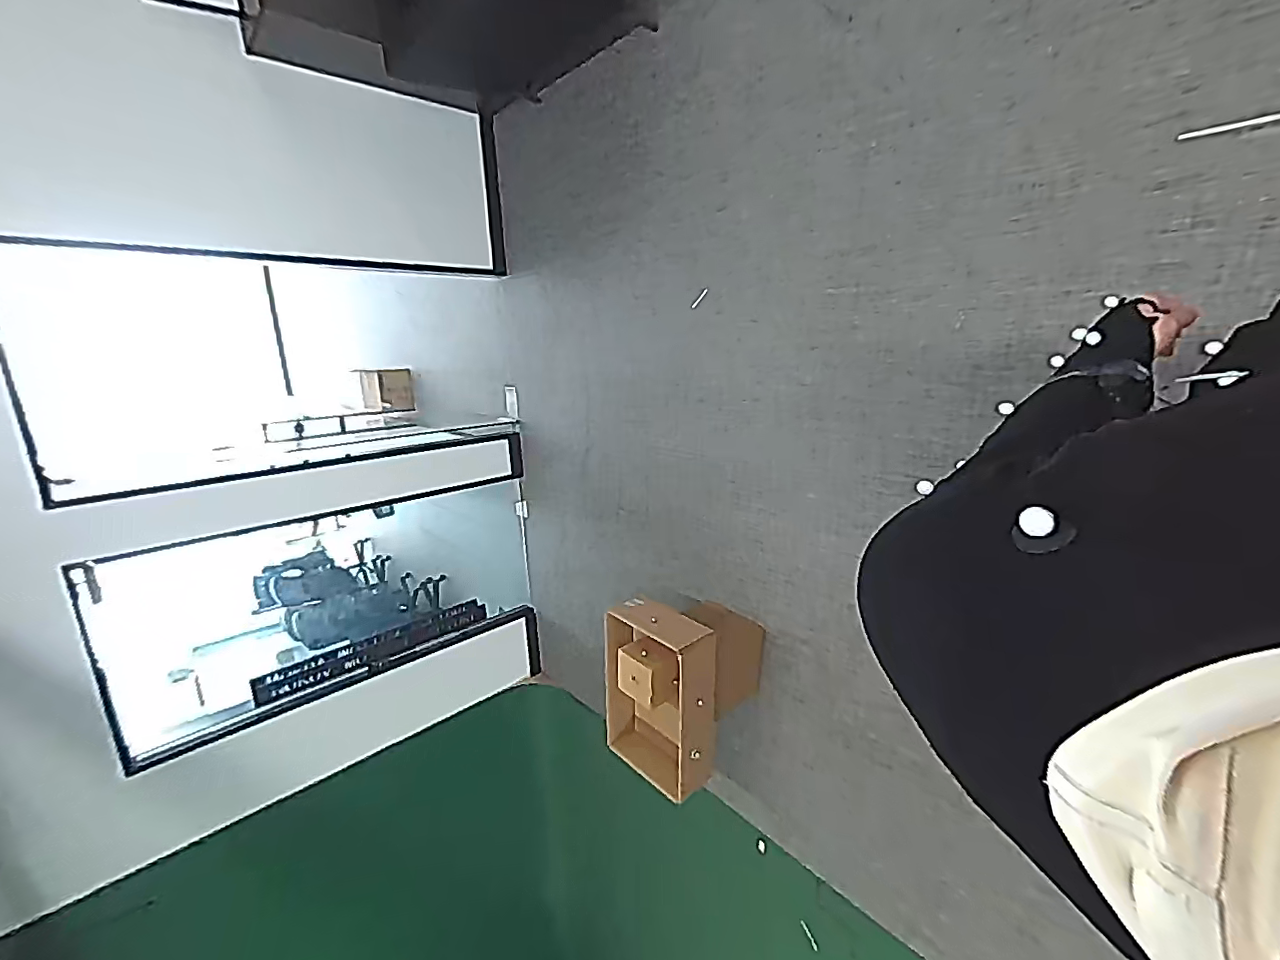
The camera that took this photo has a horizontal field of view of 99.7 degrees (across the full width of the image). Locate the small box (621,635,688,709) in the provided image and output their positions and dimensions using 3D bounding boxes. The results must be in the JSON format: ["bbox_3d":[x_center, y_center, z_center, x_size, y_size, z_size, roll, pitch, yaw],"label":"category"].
[{"bbox_3d":[0.050,0.684,1.955,0.179,0.176,0.168,16,111,45],"label":"small box"}]
